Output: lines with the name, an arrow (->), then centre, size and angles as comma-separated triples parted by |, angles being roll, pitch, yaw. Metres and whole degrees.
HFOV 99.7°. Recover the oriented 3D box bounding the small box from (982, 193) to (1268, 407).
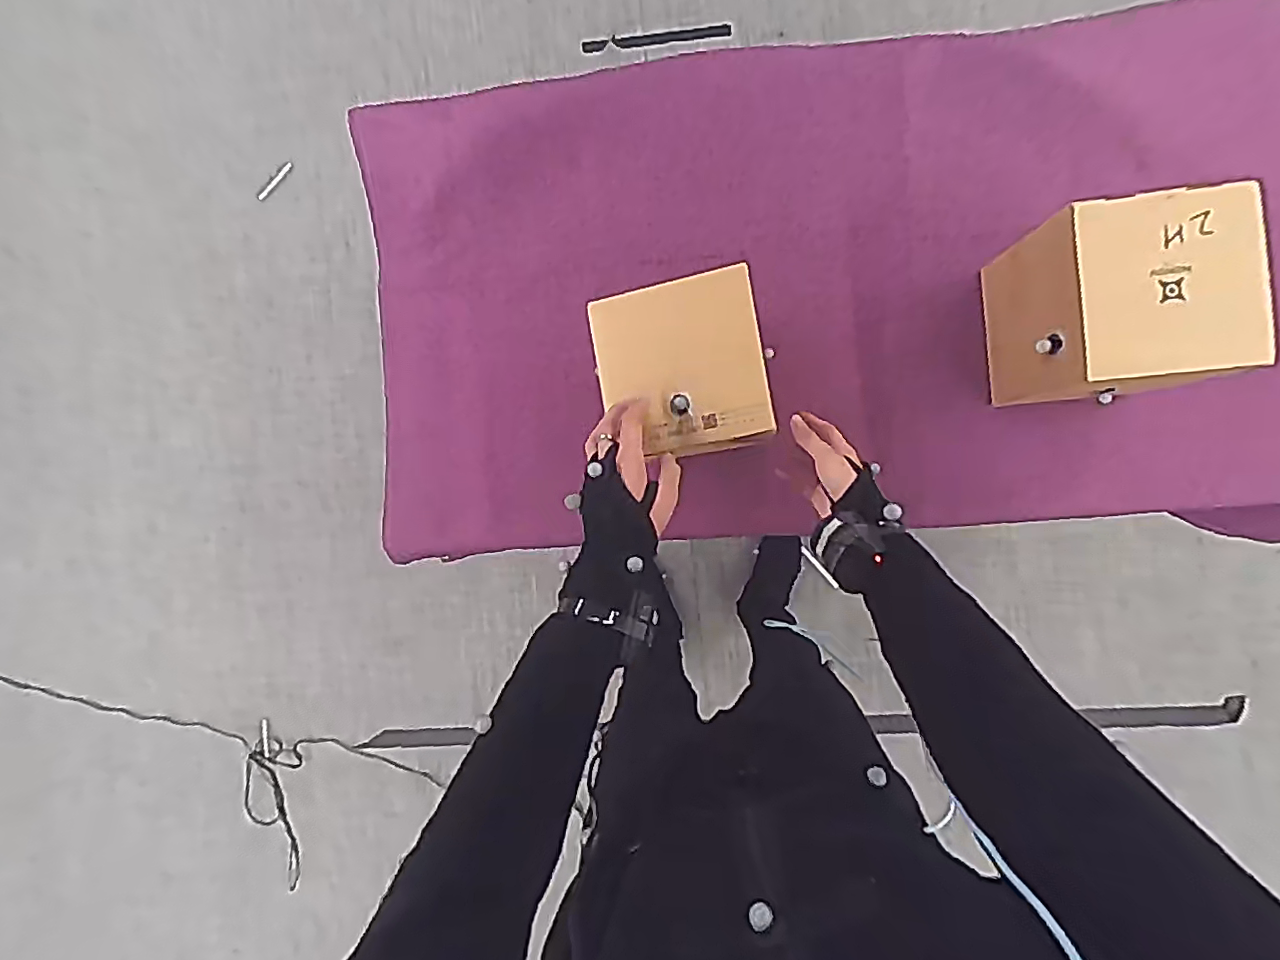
small box -> 0.507, -0.178, 0.593 | 0.168, 0.176, 0.179 | -4, 89, 5
